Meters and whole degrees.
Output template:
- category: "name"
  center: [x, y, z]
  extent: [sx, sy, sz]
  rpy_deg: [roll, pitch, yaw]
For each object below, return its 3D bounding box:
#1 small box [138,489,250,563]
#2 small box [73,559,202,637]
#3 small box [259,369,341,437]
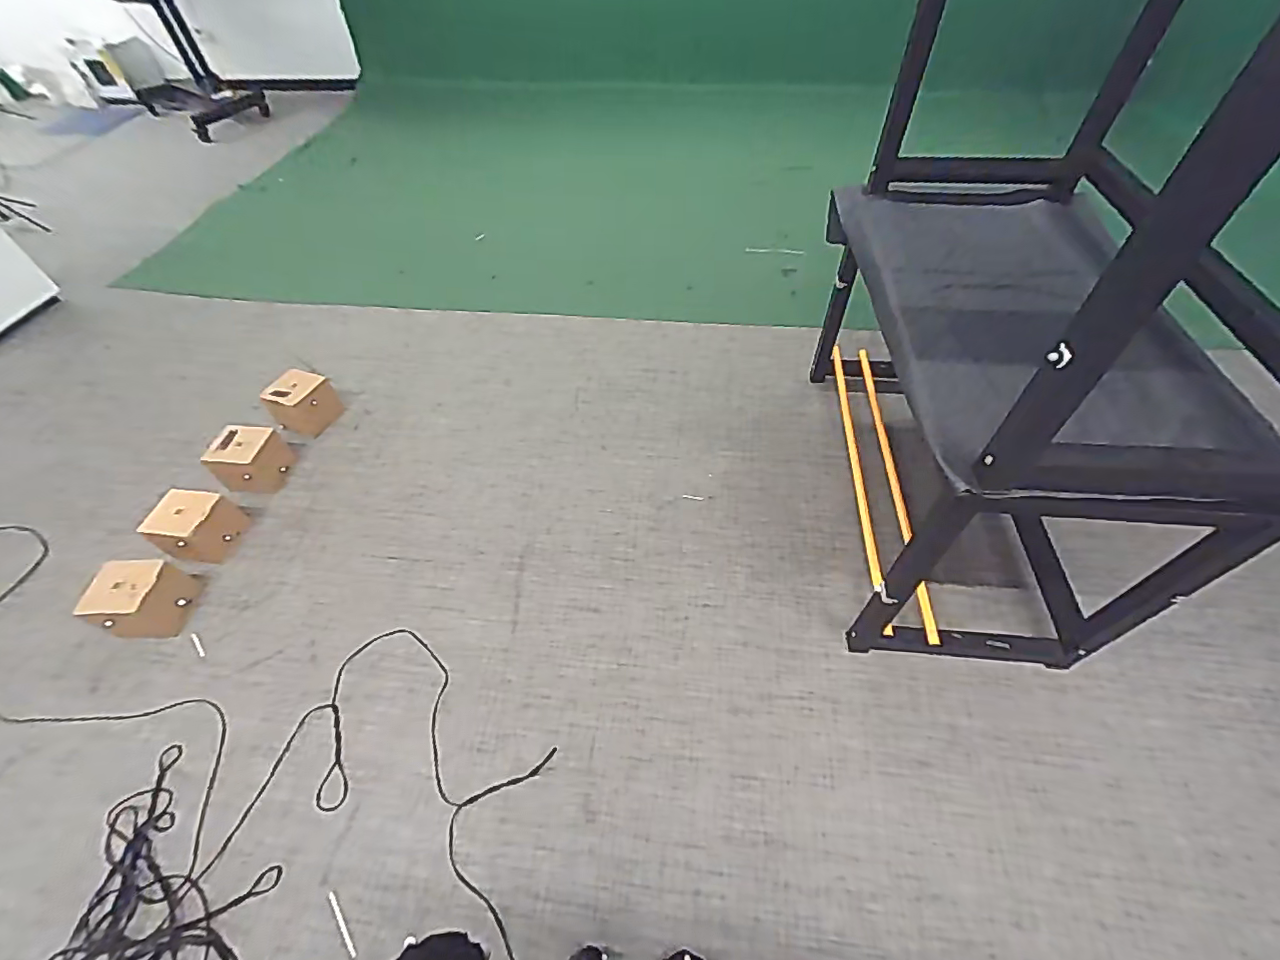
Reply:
- category: "small box"
  center: [-1.400, 0.149, 1.712]
  extent: [0.179, 0.176, 0.168]
  rpy_deg: [5, 52, 5]
- category: "small box"
  center: [-1.432, 0.343, 1.555]
  extent: [0.179, 0.176, 0.168]
  rpy_deg: [-2, 52, 0]
- category: "small box"
  center: [-1.283, -0.290, 2.059]
  extent: [0.168, 0.176, 0.179]
  rpy_deg: [16, 52, 13]
